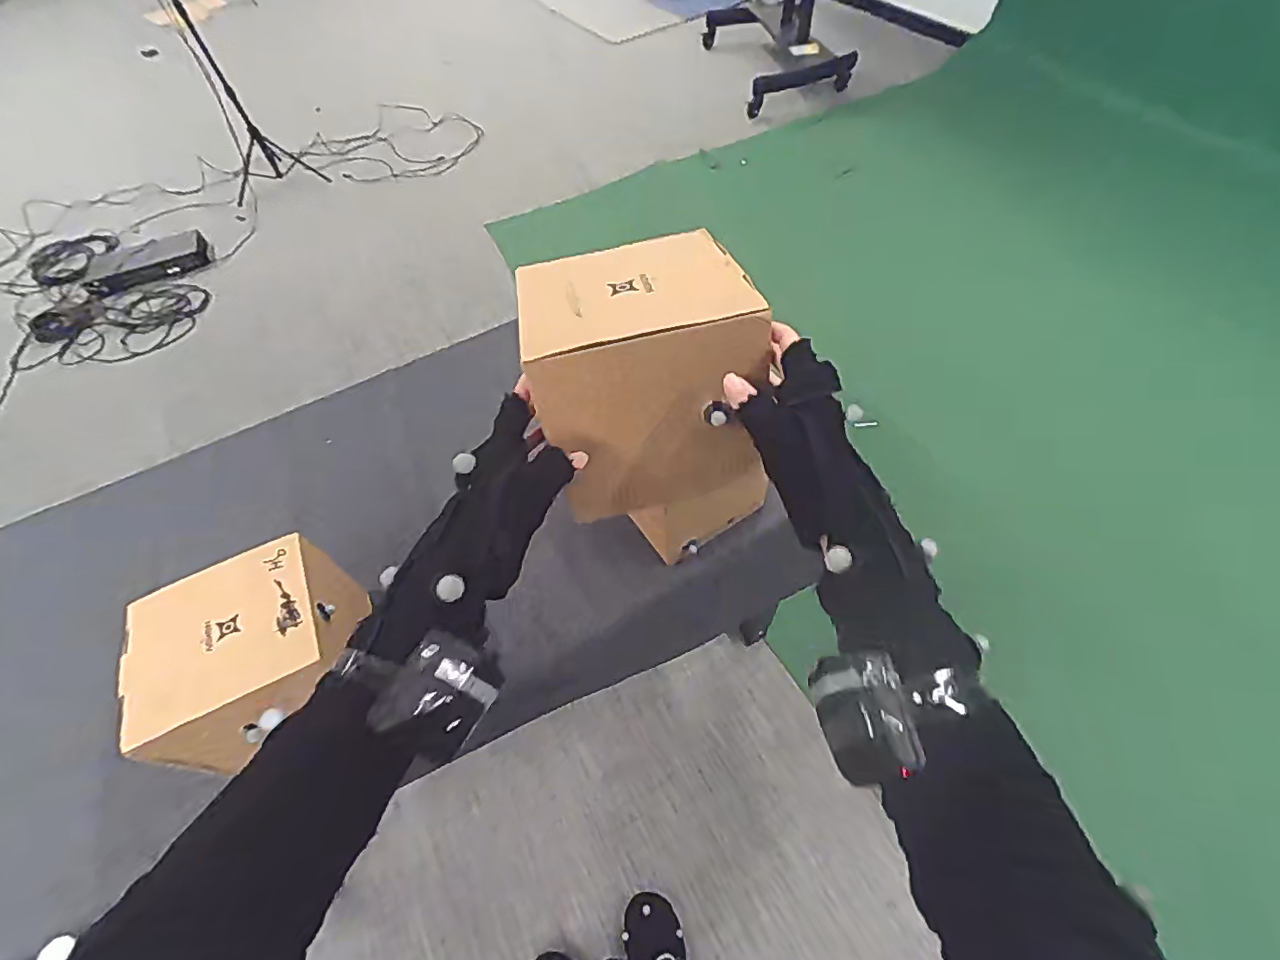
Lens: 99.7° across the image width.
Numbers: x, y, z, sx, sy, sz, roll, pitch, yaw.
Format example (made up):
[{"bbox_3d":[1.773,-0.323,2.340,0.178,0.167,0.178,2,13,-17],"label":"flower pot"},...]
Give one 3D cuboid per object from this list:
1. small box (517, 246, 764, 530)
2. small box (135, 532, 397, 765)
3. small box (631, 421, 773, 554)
[{"bbox_3d":[0.000,-0.081,0.480,0.179,0.176,0.168,-13,41,-1],"label":"small box"},{"bbox_3d":[-0.410,0.196,0.615,0.179,0.176,0.168,-25,57,-13],"label":"small box"},{"bbox_3d":[0.053,-0.022,0.732,0.168,0.176,0.179,-30,58,-15],"label":"small box"}]
